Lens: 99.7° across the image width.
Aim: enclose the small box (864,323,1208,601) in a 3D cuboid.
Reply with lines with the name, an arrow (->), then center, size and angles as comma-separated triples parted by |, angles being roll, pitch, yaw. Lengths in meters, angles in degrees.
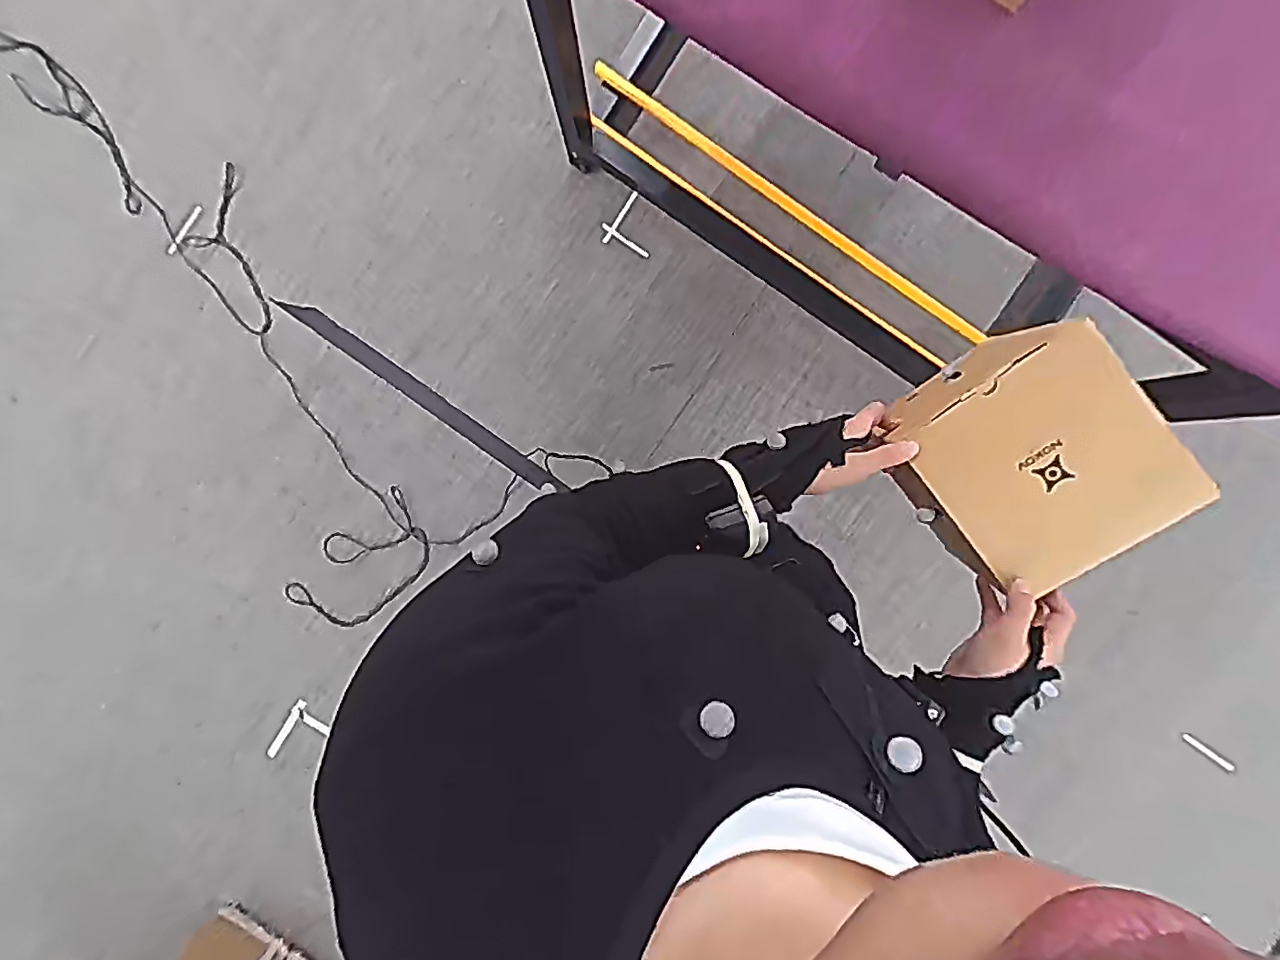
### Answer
small box -> 0.345, -0.022, 0.515 | 0.168, 0.176, 0.179 | -36, 90, 14
